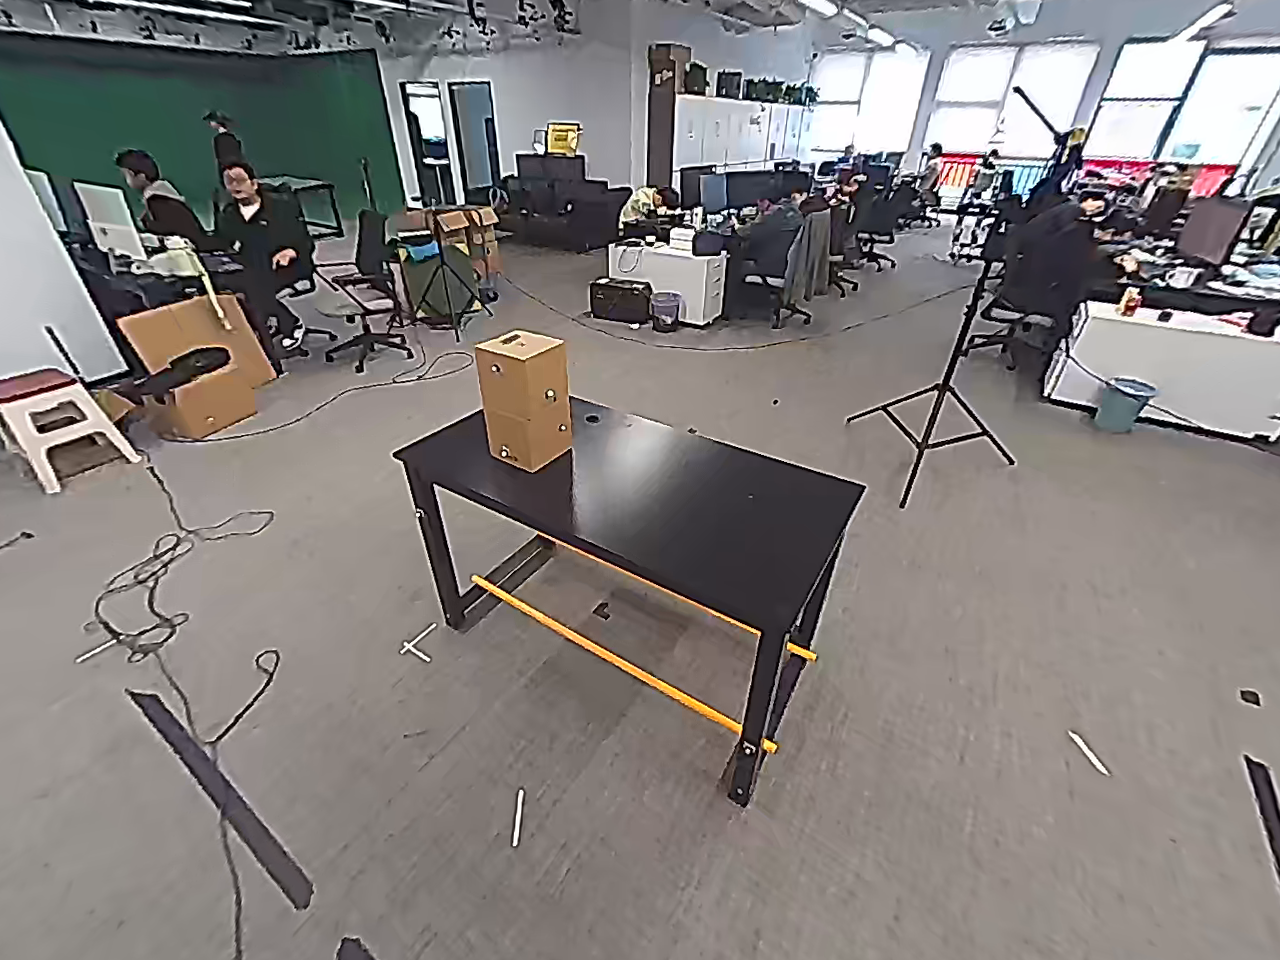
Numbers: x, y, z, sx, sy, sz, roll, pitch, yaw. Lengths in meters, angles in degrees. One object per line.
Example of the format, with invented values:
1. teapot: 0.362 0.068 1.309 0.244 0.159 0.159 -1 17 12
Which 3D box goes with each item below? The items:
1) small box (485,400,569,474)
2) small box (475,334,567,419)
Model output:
1. small box: -0.317 -0.144 1.555 0.168 0.176 0.179 19 38 27
2. small box: -0.316 -0.281 1.464 0.179 0.176 0.168 19 37 26
